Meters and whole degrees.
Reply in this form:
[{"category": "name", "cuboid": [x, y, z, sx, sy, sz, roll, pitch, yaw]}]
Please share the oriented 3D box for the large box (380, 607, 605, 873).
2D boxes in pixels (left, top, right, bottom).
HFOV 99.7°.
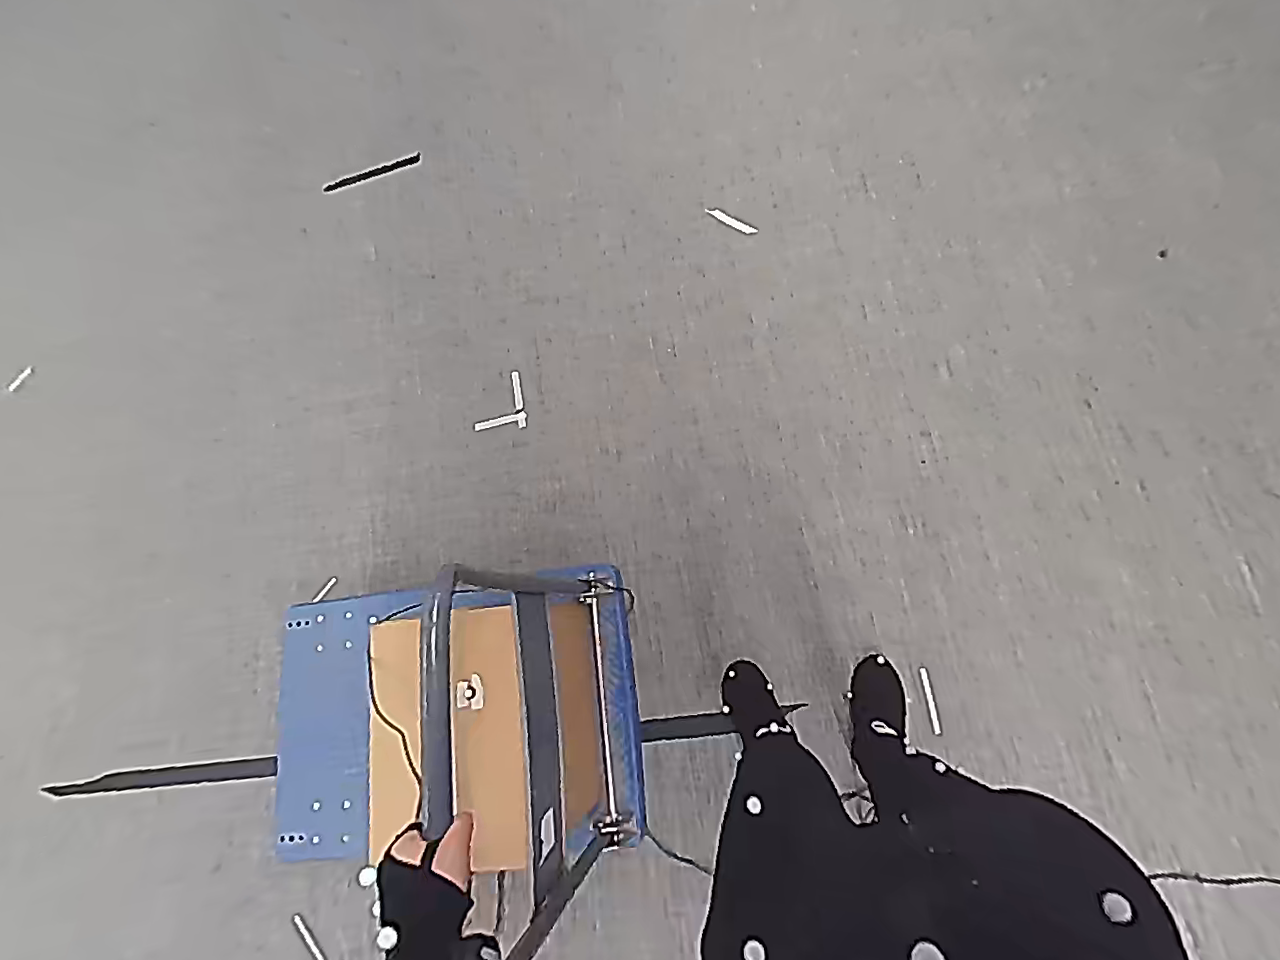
[{"category": "large box", "cuboid": [-0.275, 0.472, 1.059, 0.320, 0.320, 0.408, -10, 75, 10]}]
